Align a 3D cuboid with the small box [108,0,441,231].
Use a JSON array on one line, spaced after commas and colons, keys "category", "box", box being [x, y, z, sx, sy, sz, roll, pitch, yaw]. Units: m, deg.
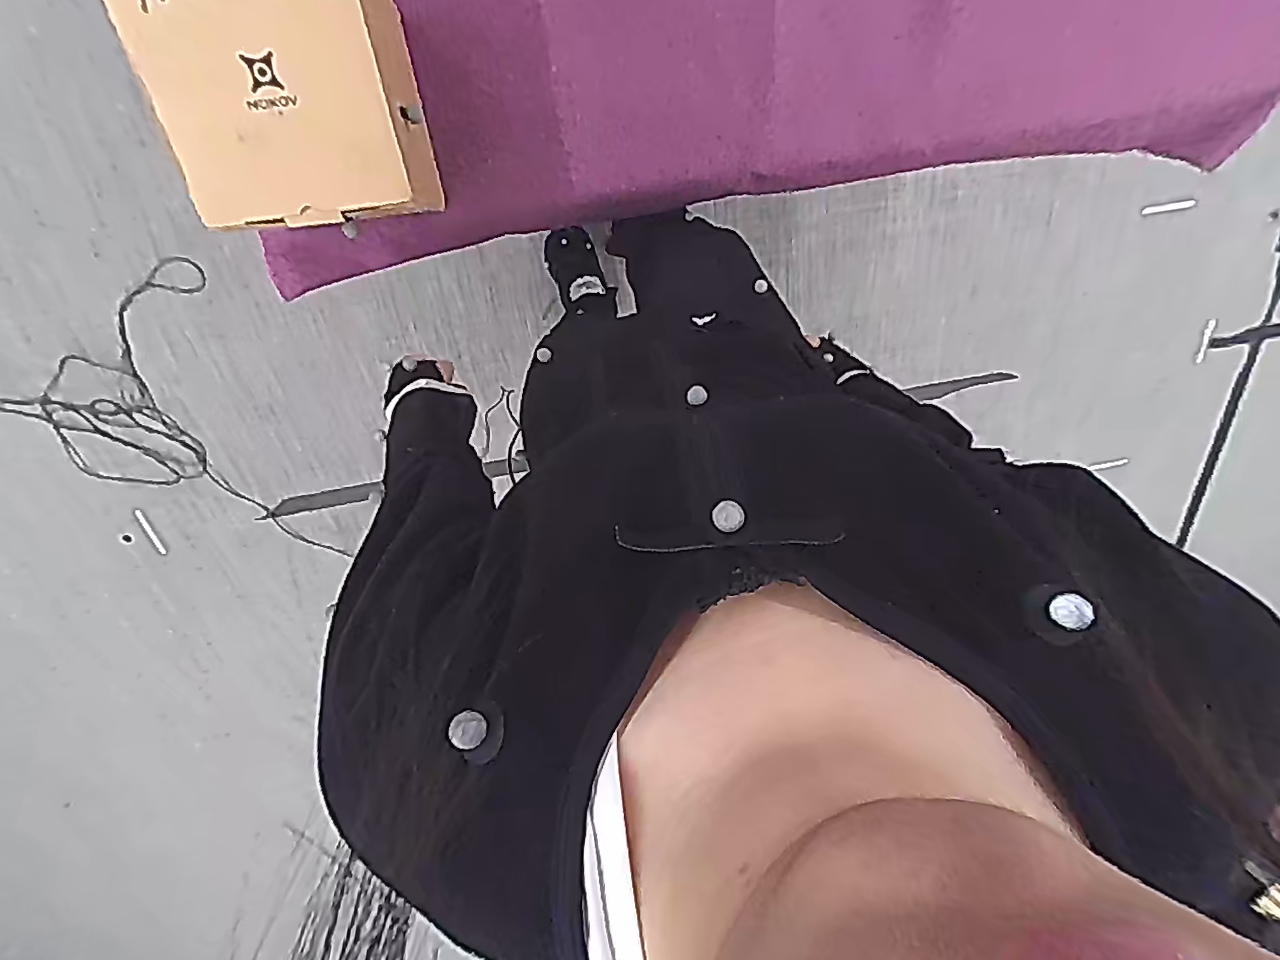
[{"category": "small box", "box": [-0.287, -0.325, 0.471, 0.168, 0.176, 0.179, -10, 118, -5]}]
